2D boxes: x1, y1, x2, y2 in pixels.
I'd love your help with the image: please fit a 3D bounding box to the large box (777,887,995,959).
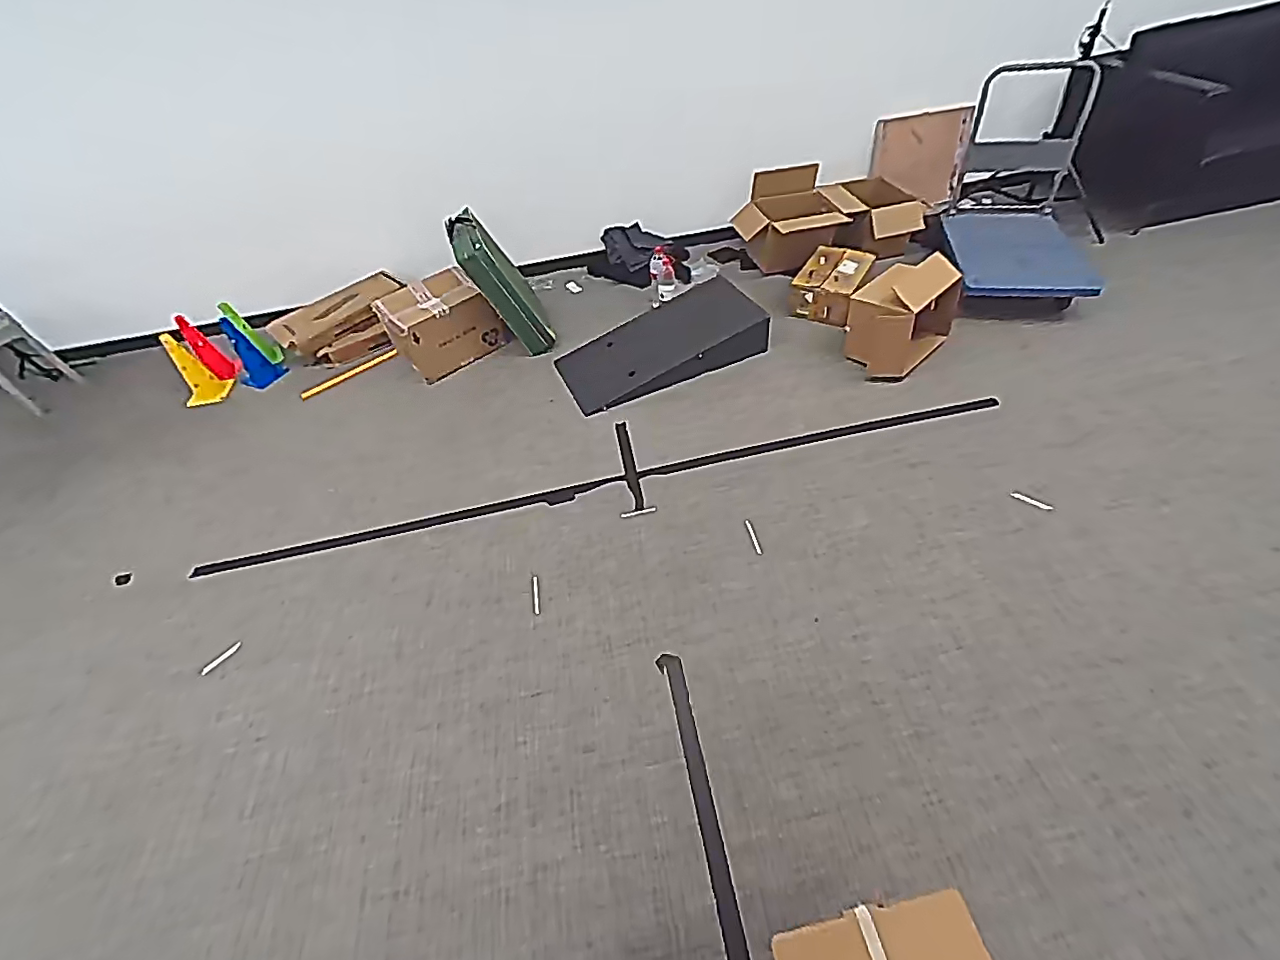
[{"bbox_3d":[0.433,0.927,0.848,0.320,0.320,0.408,-17,49,3],"label":"large box"}]
